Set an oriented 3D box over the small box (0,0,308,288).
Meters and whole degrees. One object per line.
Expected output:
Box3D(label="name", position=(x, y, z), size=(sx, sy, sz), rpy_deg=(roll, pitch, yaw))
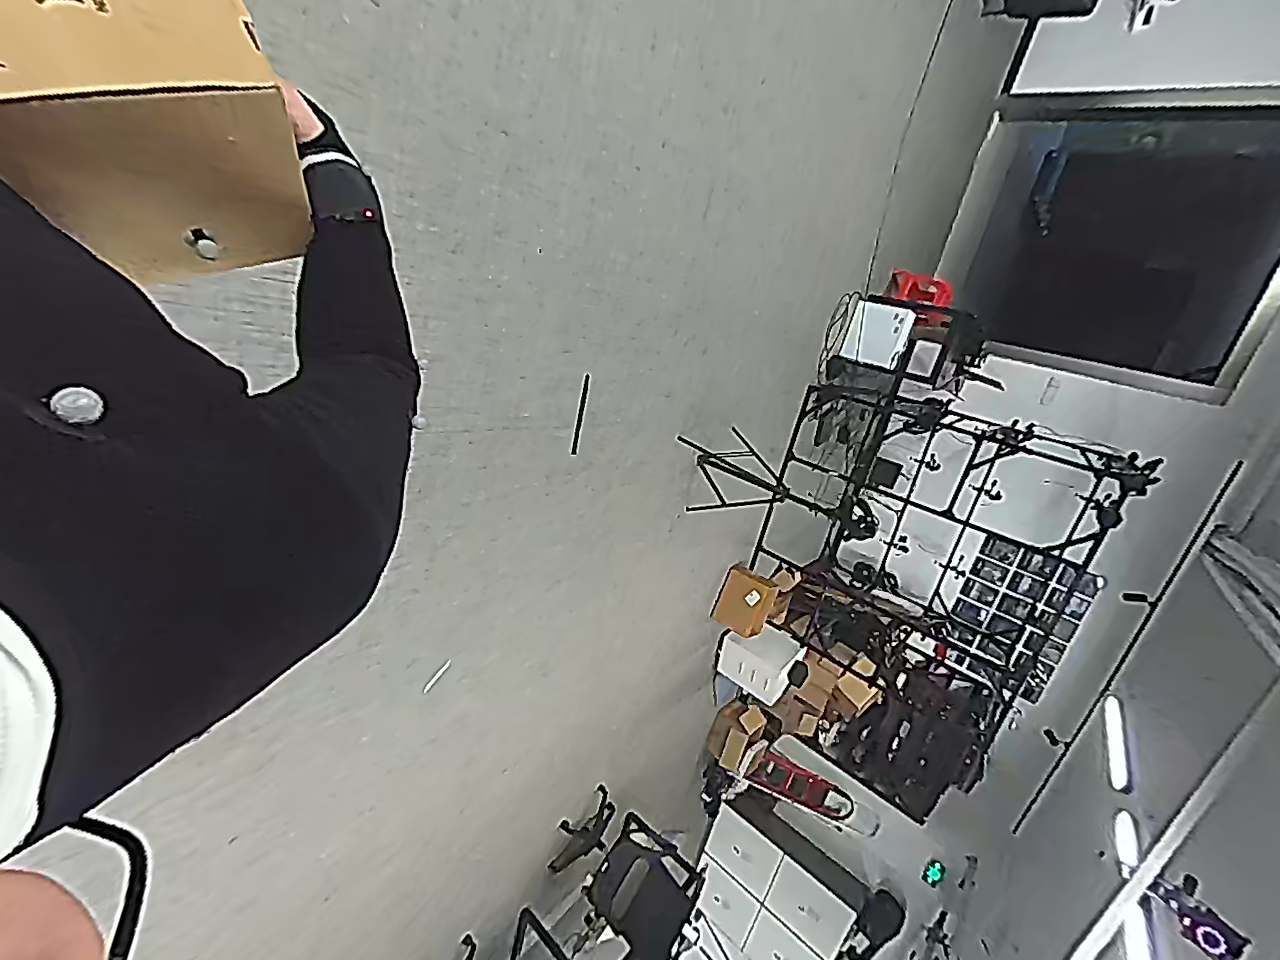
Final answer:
Box3D(label="small box", position=(-0.392, -0.284, 0.431), size=(0.179, 0.168, 0.176), rpy_deg=(-27, 172, -29))
